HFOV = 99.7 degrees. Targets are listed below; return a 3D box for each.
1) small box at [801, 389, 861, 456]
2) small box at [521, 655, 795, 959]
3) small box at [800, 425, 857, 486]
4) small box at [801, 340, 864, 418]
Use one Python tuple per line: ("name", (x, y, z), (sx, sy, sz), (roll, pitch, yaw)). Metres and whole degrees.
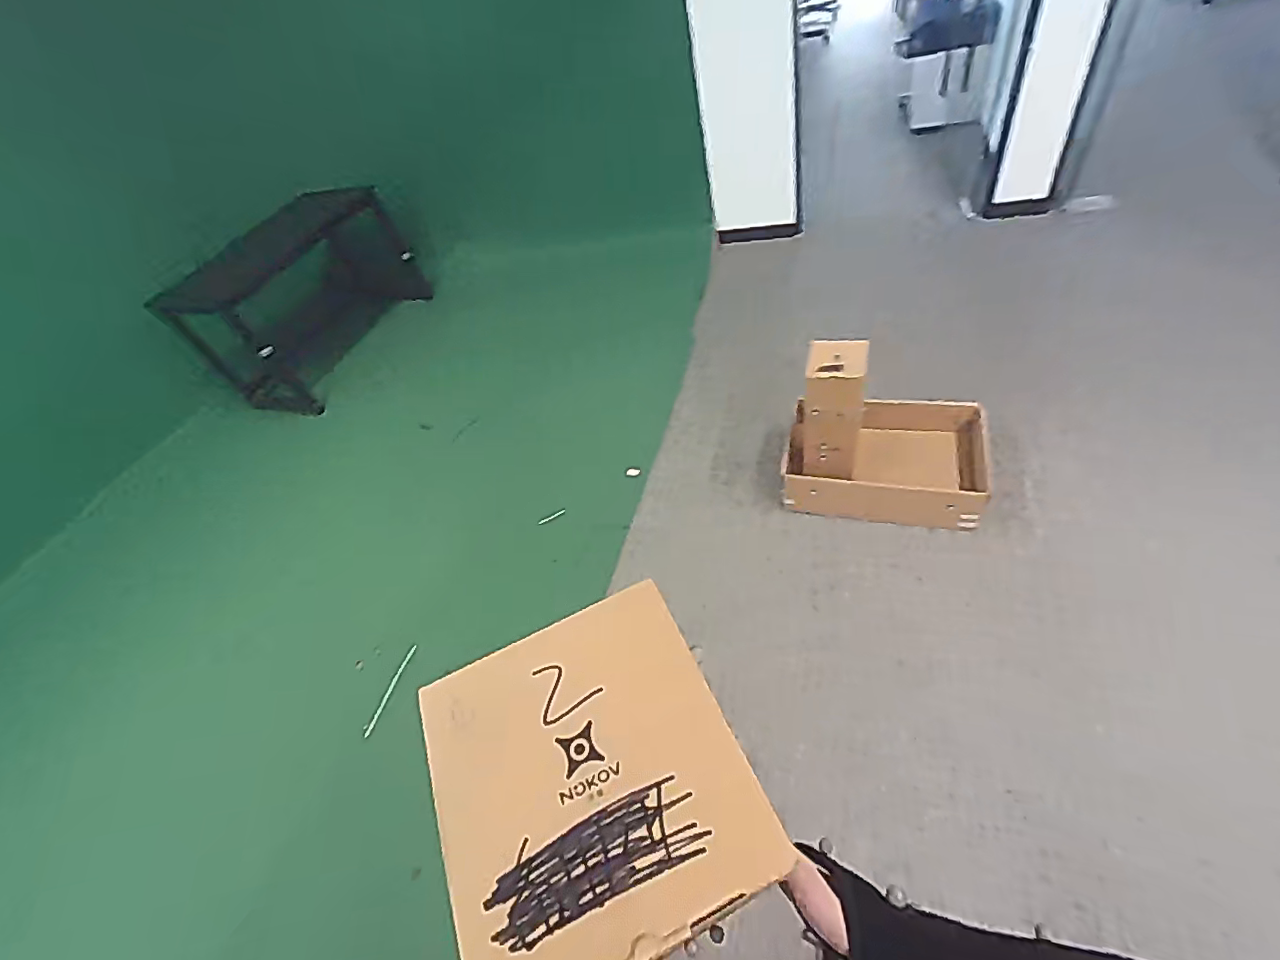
("small box", (0.624, -0.206, 1.775), (0.168, 0.176, 0.179), (7, 53, 22))
("small box", (0.016, 0.297, 0.489), (0.168, 0.176, 0.179), (-26, 53, -9))
("small box", (0.660, -0.104, 1.899), (0.168, 0.176, 0.179), (8, 53, 21))
("small box", (0.588, -0.307, 1.652), (0.168, 0.176, 0.179), (6, 51, 20))
